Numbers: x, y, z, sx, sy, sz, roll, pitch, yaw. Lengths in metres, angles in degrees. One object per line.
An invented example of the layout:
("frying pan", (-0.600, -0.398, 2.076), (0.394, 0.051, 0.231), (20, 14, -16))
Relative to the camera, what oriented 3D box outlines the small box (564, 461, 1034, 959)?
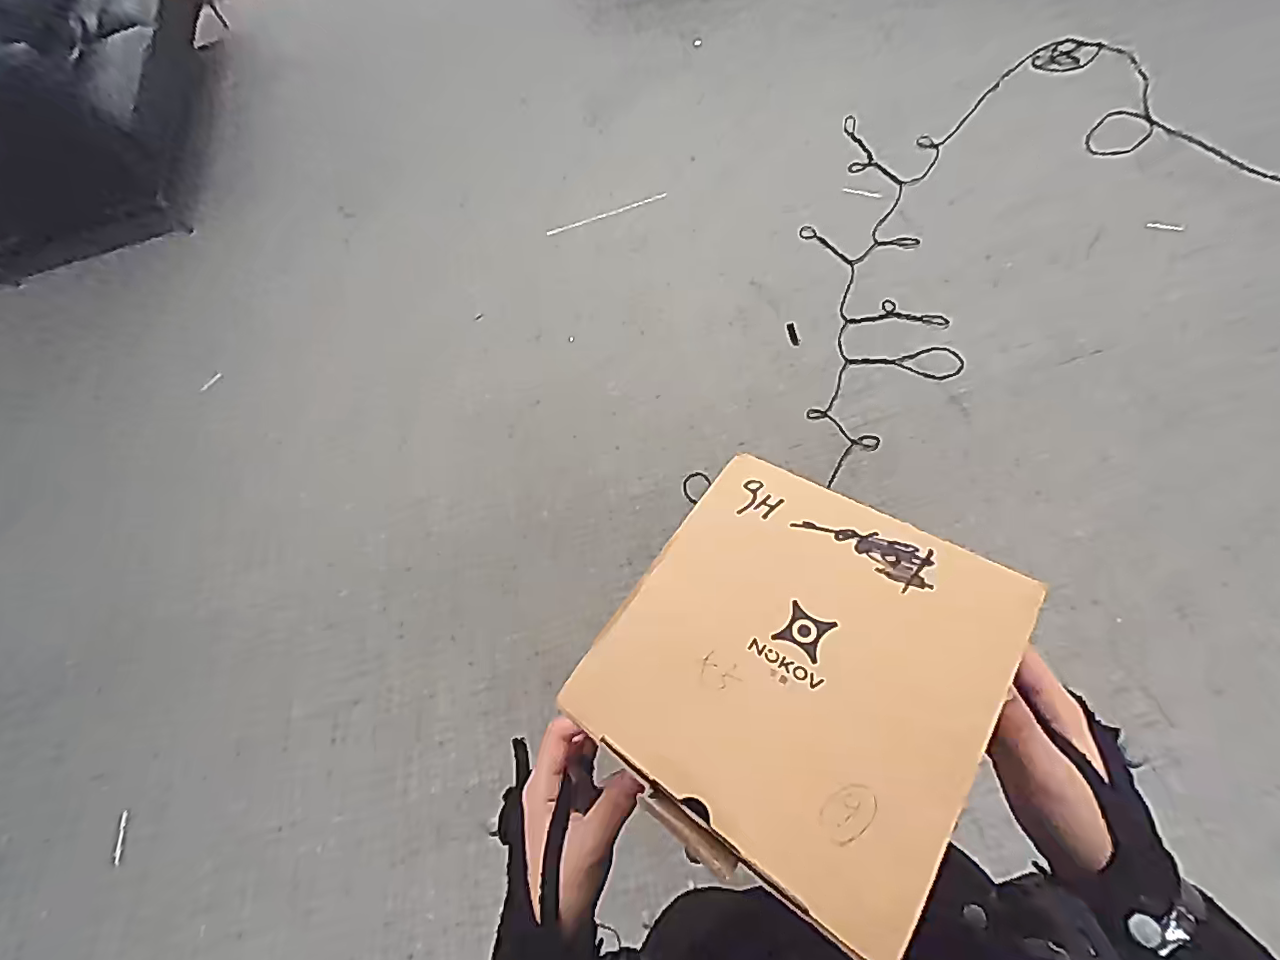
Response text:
("small box", (0.090, 0.127, 0.326), (0.168, 0.176, 0.179), (27, 67, 27))
